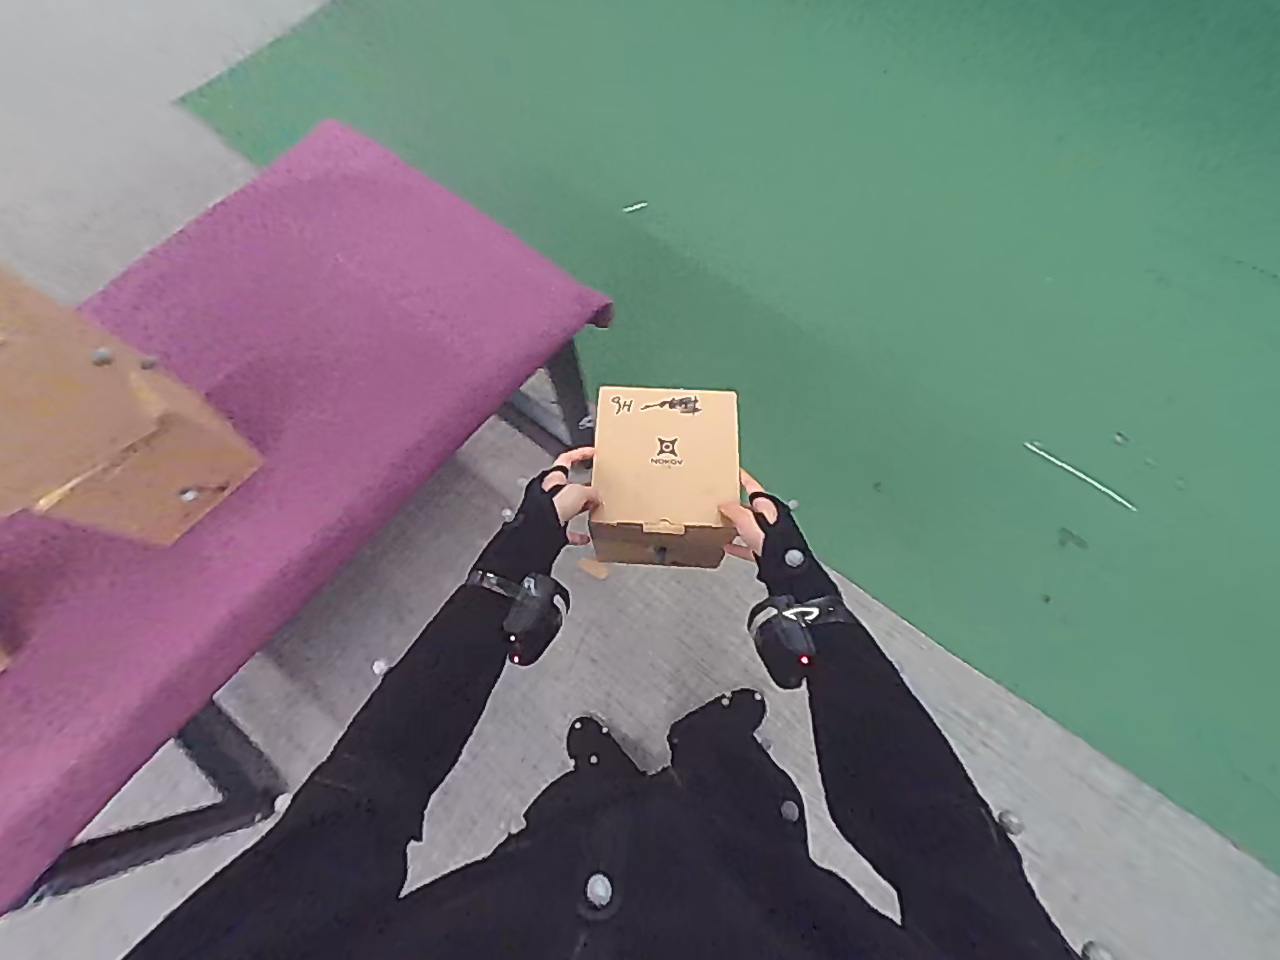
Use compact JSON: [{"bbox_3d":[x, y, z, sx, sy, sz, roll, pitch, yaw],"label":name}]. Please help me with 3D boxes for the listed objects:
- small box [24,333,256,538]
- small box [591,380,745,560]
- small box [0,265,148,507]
[{"bbox_3d":[-0.659,-0.049,0.696,0.179,0.176,0.168,38,75,14],"label":"small box"},{"bbox_3d":[0.035,-0.004,0.680,0.168,0.176,0.179,4,68,1],"label":"small box"},{"bbox_3d":[-0.666,-0.098,0.539,0.179,0.176,0.168,-37,73,-13],"label":"small box"}]
